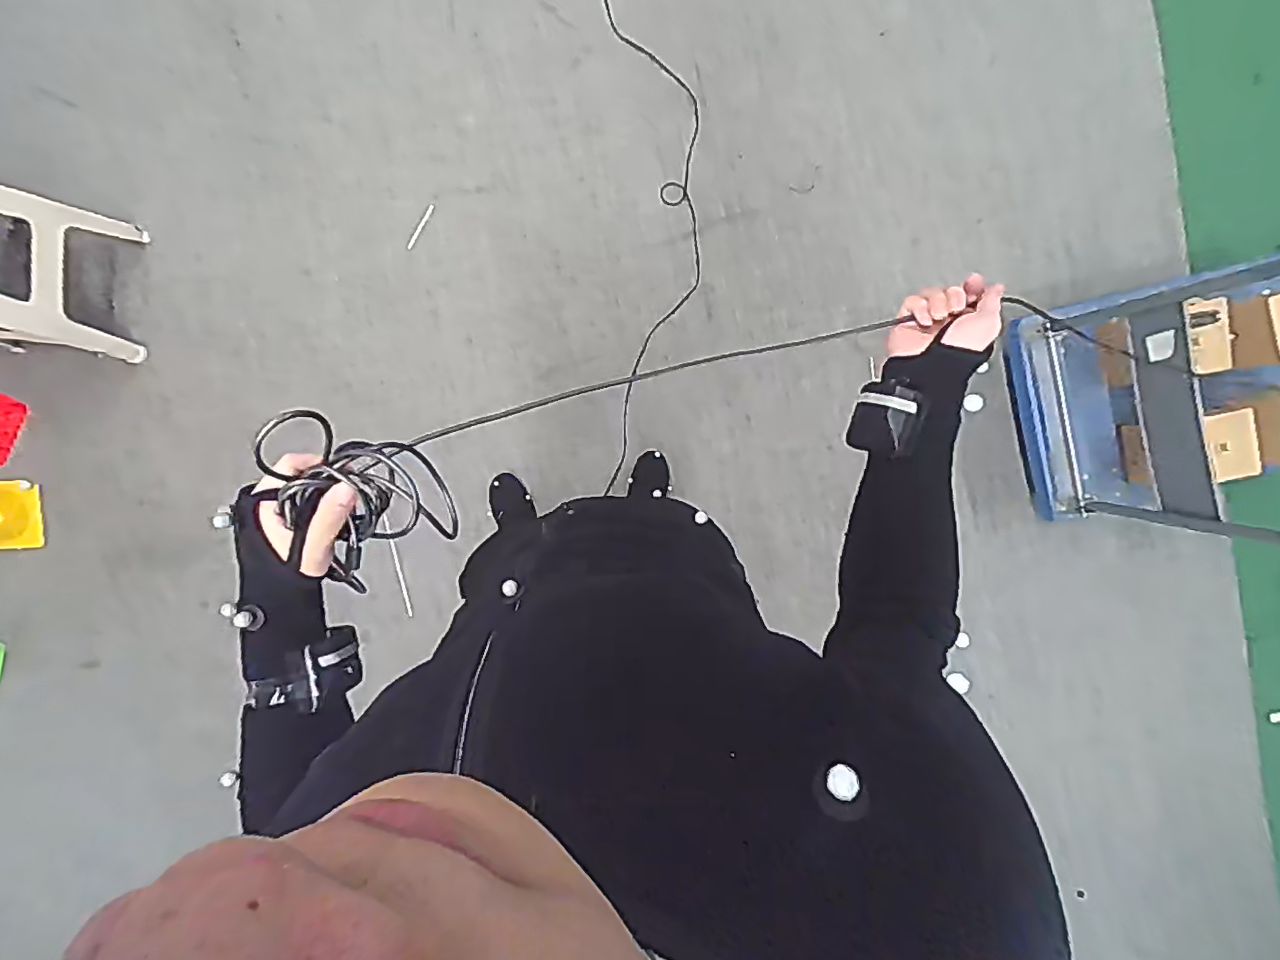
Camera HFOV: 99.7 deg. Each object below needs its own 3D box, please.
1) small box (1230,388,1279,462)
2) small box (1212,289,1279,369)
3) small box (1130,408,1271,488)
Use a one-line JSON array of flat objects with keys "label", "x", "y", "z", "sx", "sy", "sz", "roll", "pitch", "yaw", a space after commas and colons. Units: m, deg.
[{"label": "small box", "x": 1.667, "y": -0.146, "z": 1.360, "sx": 0.179, "sy": 0.176, "sz": 0.168, "roll": -17, "pitch": 93, "yaw": 2}, {"label": "small box", "x": 1.591, "y": -0.385, "z": 1.345, "sx": 0.179, "sy": 0.176, "sz": 0.168, "roll": -17, "pitch": 94, "yaw": 1}, {"label": "small box", "x": 1.405, "y": -0.083, "z": 1.364, "sx": 0.179, "sy": 0.176, "sz": 0.168, "roll": -13, "pitch": 94, "yaw": 1}]
